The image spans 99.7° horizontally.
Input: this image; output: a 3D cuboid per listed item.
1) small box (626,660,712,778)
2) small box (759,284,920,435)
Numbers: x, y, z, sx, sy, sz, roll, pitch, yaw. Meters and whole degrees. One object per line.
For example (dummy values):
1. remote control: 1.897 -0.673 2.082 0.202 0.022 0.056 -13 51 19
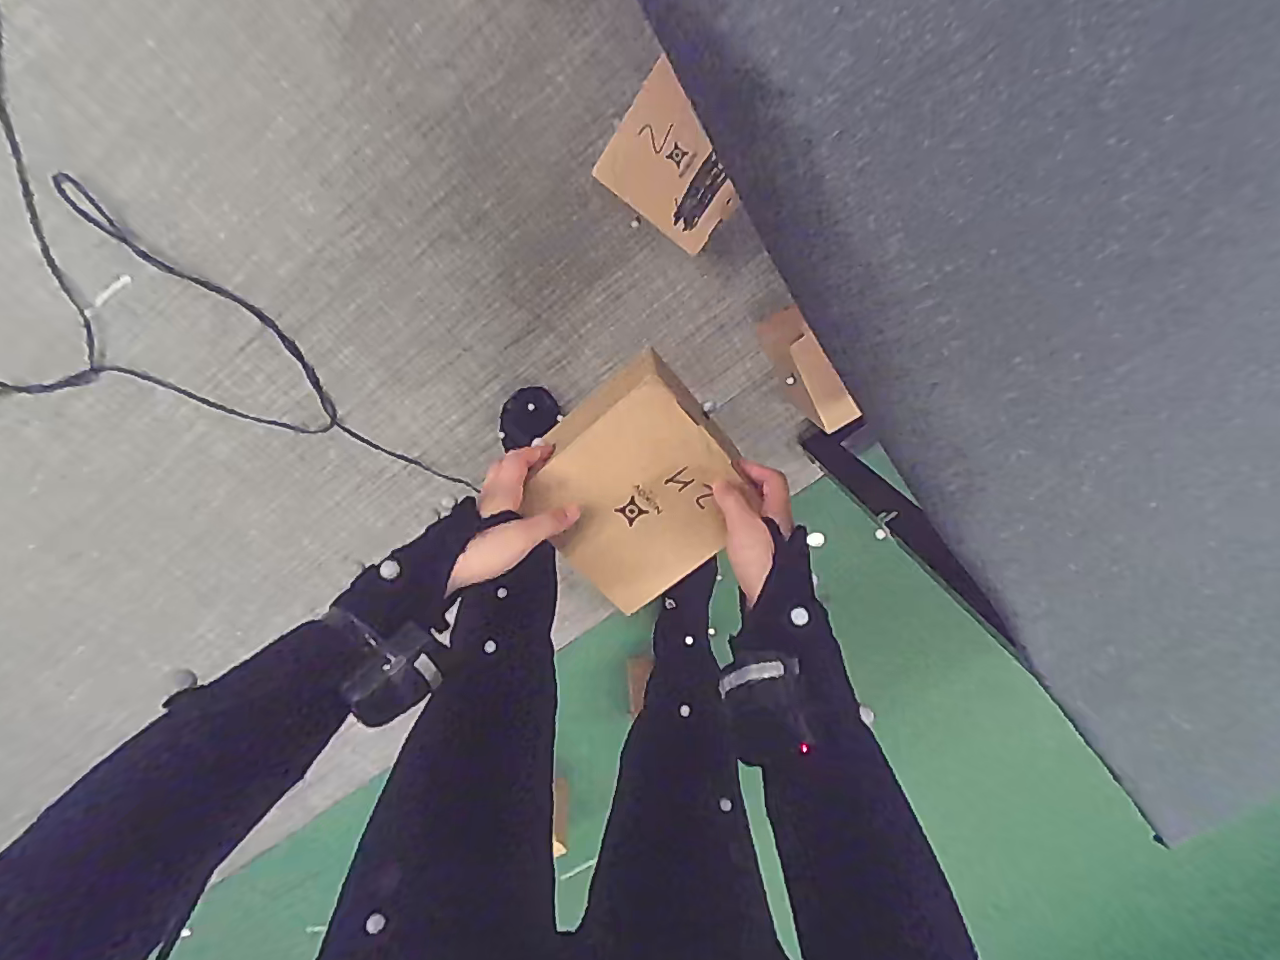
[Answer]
1. small box: 0.059 0.520 1.199 0.168 0.176 0.179 -4 114 -5
2. small box: 0.321 -0.209 0.900 0.168 0.176 0.179 -30 115 8
